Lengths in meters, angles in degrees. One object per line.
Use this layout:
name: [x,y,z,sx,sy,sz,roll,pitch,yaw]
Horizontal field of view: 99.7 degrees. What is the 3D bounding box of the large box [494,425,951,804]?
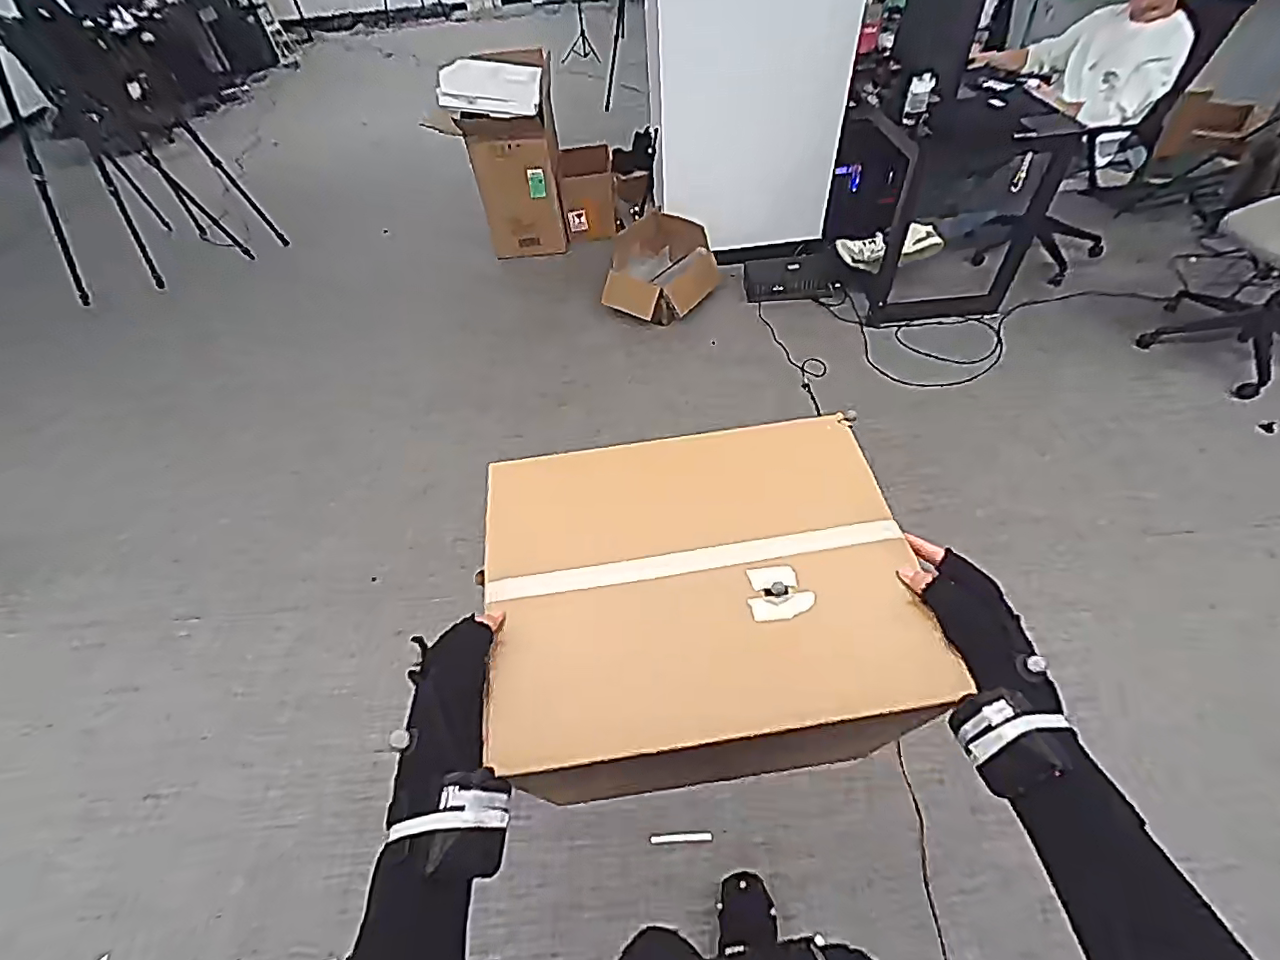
large box: [0.059,0.174,0.662,0.408,0.320,0.320,-9,56,-3]
